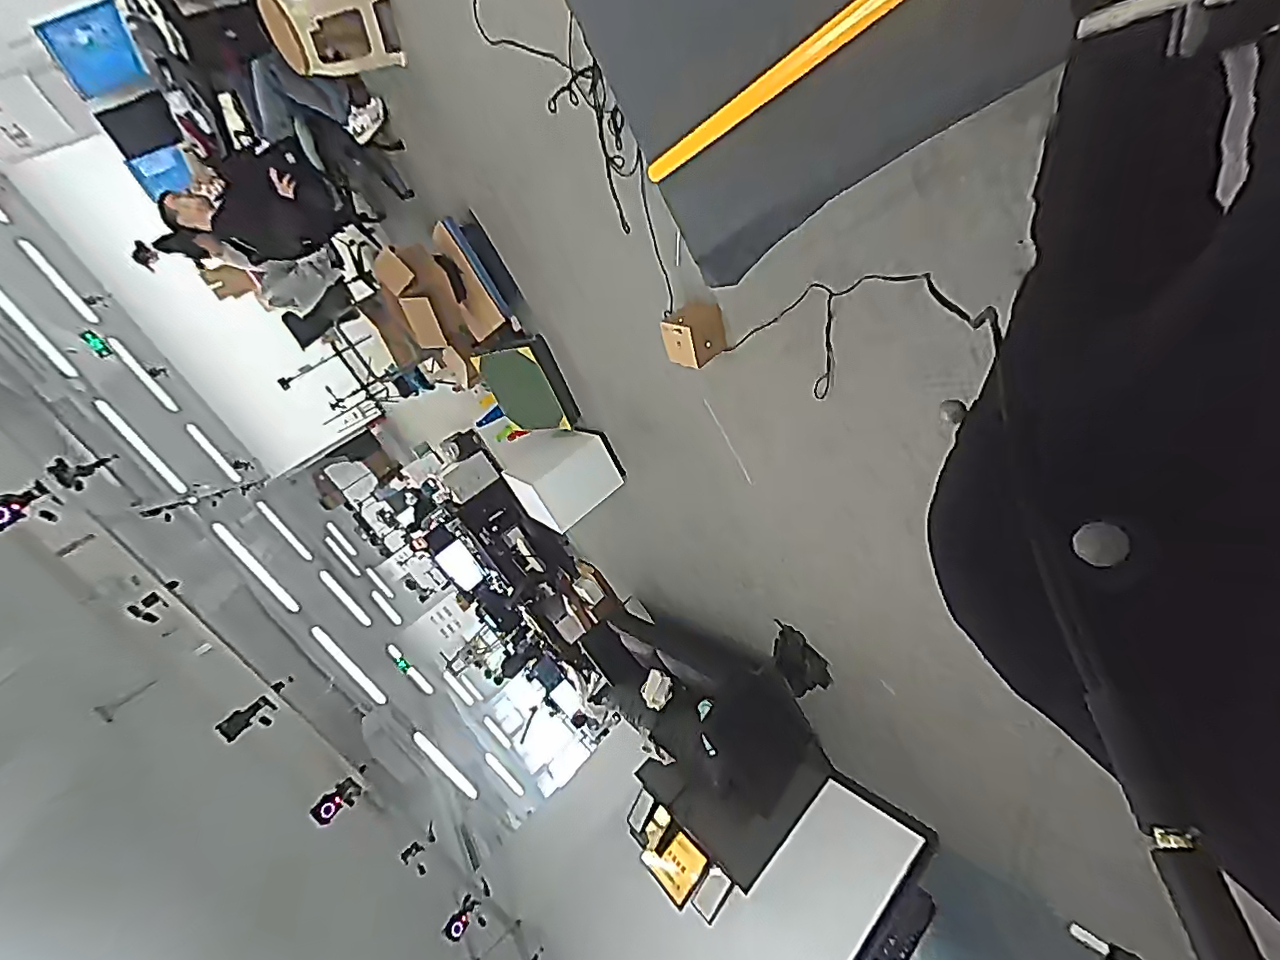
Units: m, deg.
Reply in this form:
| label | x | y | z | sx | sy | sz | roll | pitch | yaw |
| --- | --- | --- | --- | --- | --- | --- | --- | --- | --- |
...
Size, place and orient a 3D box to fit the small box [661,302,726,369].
| label | x | y | z | sx | sy | sz | roll | pitch | yaw |
| --- | --- | --- | --- | --- | --- | --- | --- | --- | --- |
| small box | 0.212 | -0.559 | 2.079 | 0.168 | 0.176 | 0.179 | 28 | 148 | 43 |
